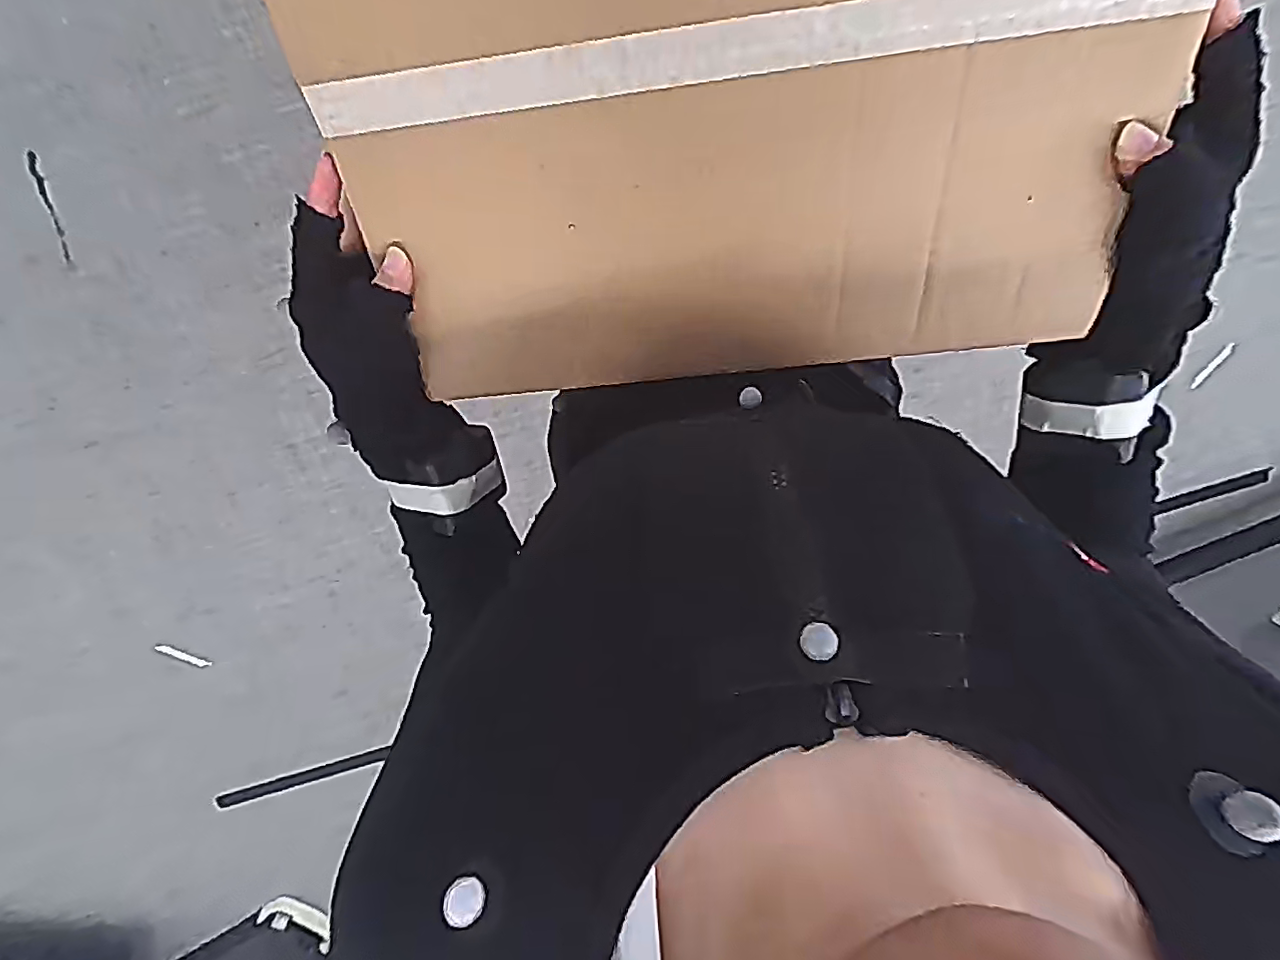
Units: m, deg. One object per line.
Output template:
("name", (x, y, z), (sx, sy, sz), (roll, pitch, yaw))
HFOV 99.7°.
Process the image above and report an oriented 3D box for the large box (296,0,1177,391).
("large box", (0.044, -0.286, 0.378), (0.408, 0.320, 0.320), (-5, 126, 4))
